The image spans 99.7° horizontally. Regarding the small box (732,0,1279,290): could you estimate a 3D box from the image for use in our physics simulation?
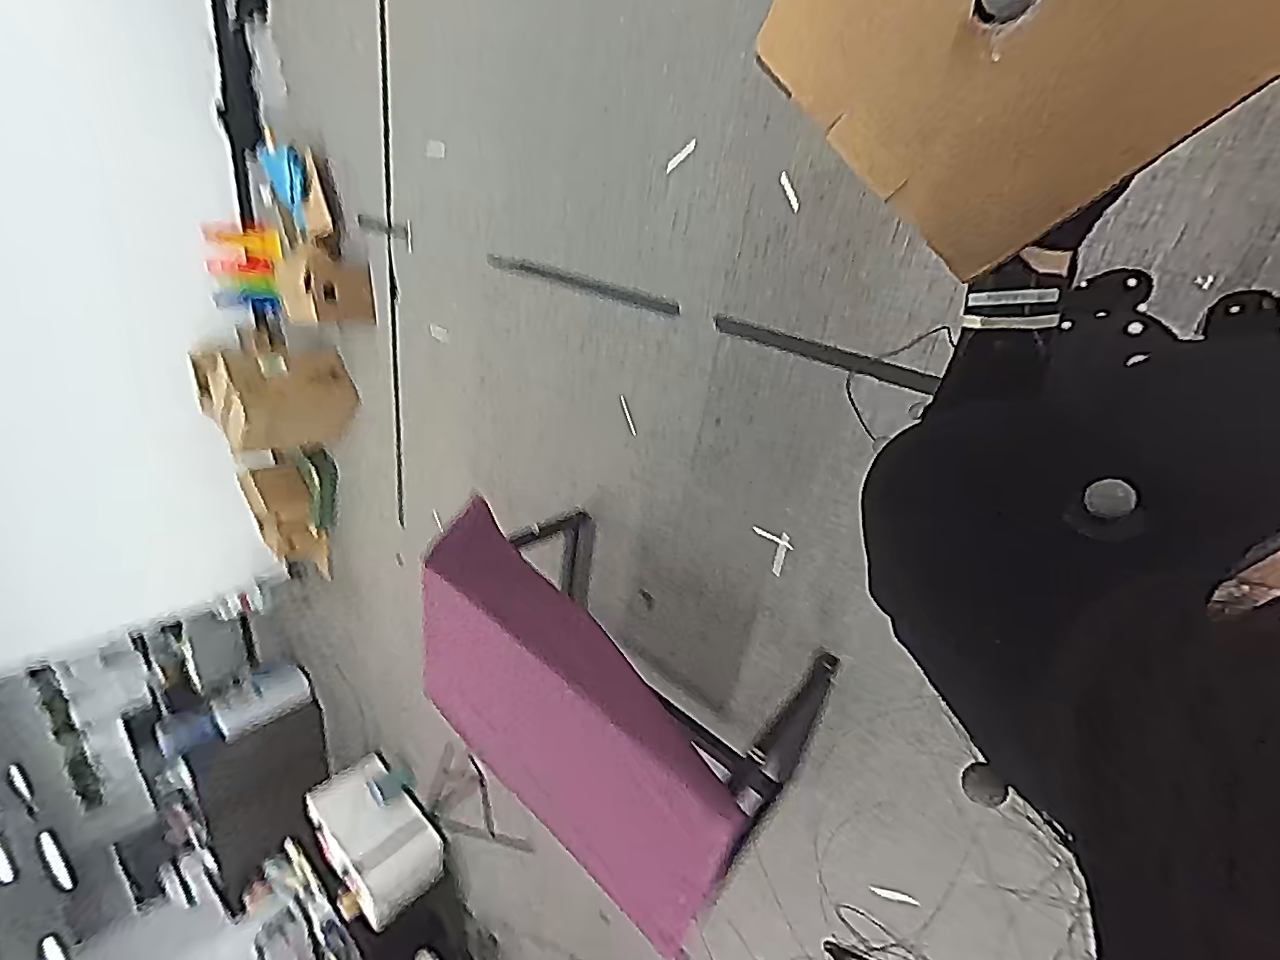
[{"bbox_3d":[0.176,-0.226,0.224,0.168,0.179,0.176,45,159,1],"label":"small box"}]
